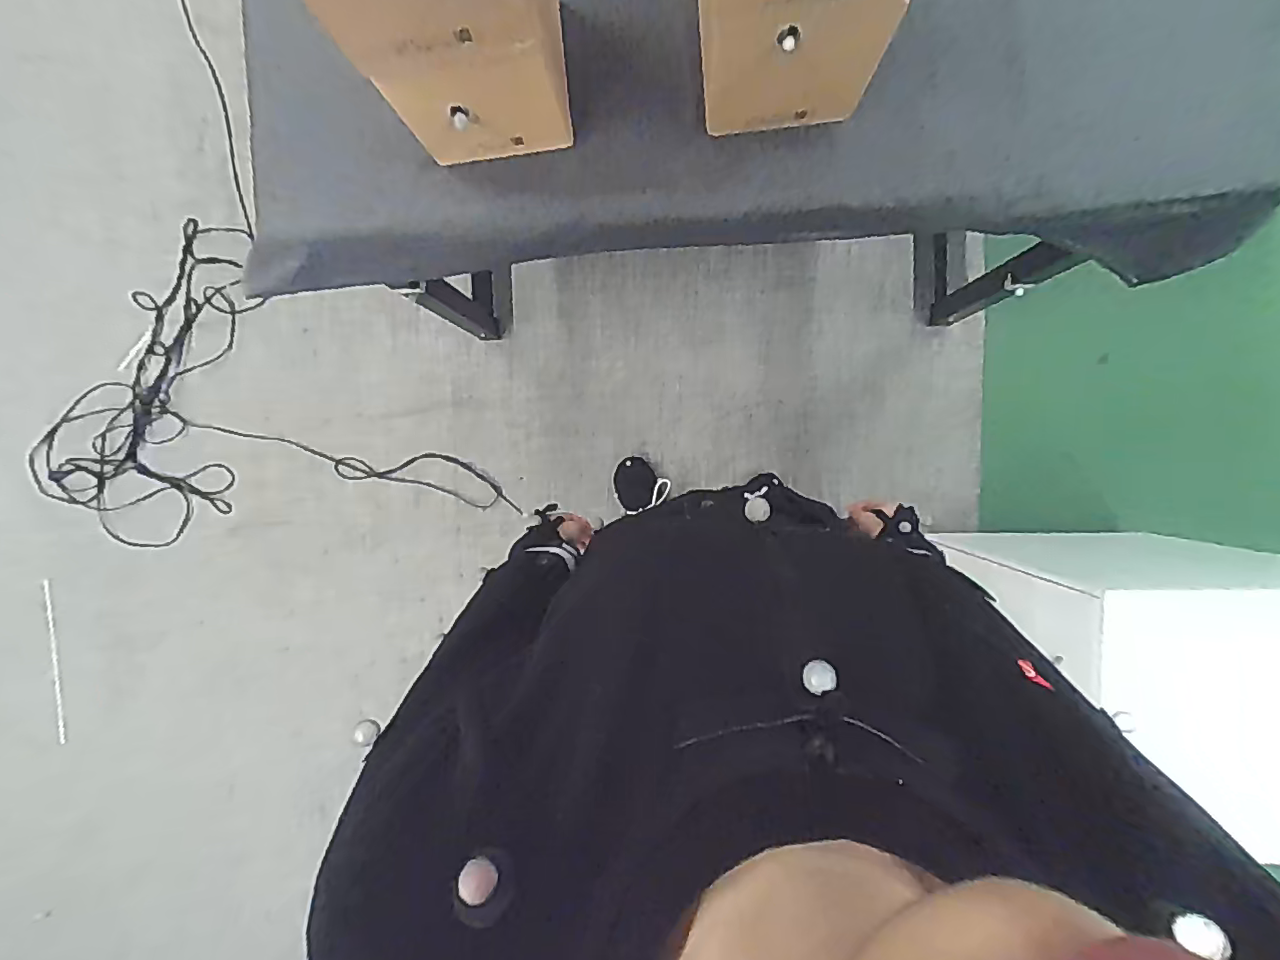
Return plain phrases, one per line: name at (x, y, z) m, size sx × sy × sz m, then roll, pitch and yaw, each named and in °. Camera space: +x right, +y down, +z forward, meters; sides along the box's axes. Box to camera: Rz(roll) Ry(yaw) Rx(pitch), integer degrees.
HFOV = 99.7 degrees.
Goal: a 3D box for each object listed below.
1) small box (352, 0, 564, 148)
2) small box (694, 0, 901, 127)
small box at (-0.179, -0.472, 0.556) m, size 0.168 × 0.176 × 0.179 m, roll -6°, pitch 92°, yaw 3°
small box at (0.144, -0.496, 0.540) m, size 0.168 × 0.176 × 0.179 m, roll -4°, pitch 92°, yaw 4°
